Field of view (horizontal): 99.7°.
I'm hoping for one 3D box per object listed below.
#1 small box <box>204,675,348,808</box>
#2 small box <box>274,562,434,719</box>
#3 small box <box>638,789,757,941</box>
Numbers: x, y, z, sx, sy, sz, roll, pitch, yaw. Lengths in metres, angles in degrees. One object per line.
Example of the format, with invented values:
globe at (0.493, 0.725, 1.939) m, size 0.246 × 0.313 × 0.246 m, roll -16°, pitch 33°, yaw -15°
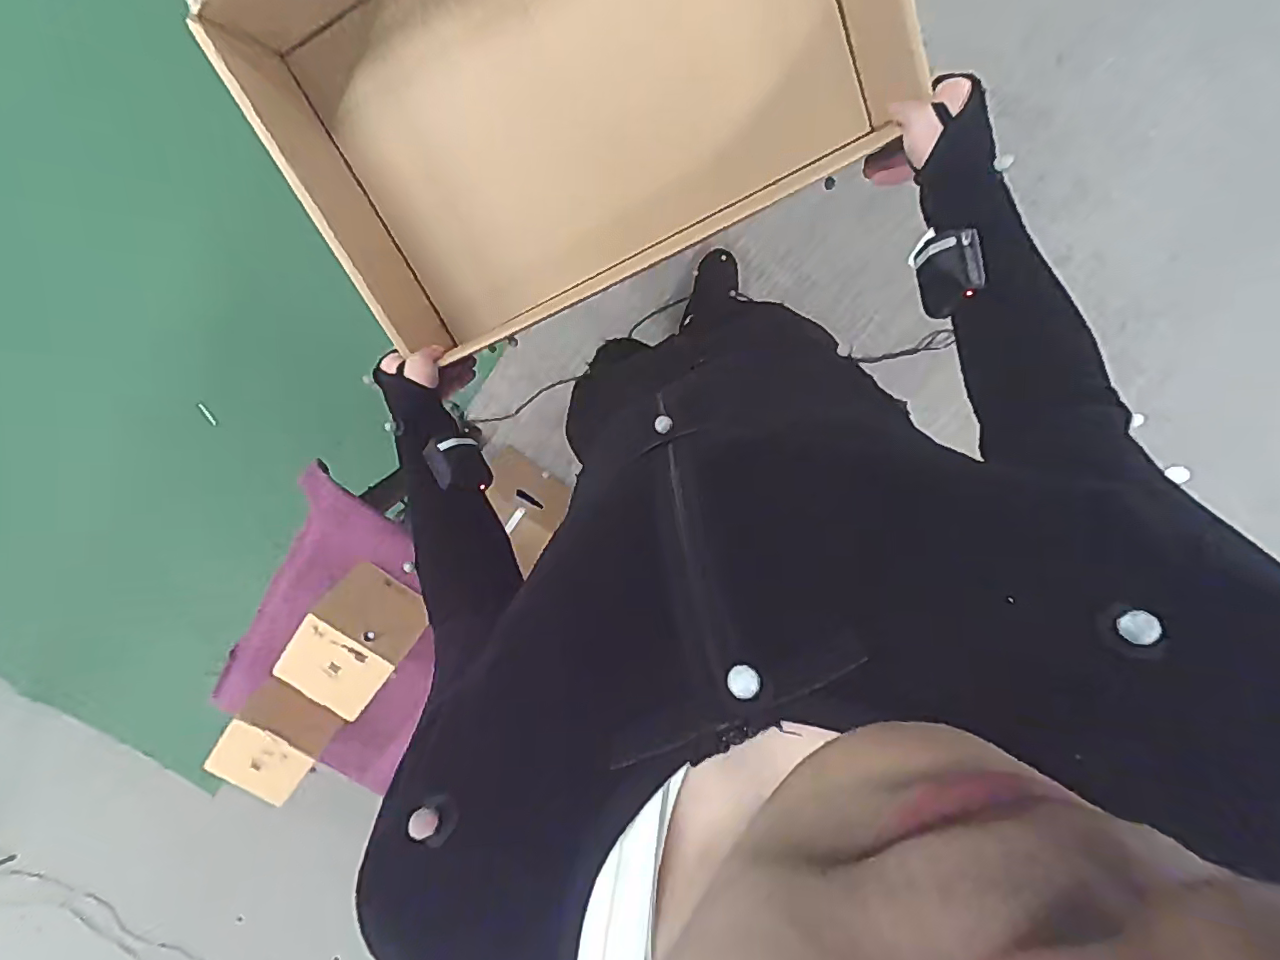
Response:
small box at (-0.711, 0.505, 1.090) m, size 0.168 × 0.176 × 0.179 m, roll 37°, pitch 109°, yaw -11°
small box at (-0.509, 0.287, 0.986) m, size 0.168 × 0.176 × 0.179 m, roll 37°, pitch 113°, yaw -10°
small box at (0.116, 0.783, 1.113) m, size 0.168 × 0.176 × 0.179 m, roll 34°, pitch 112°, yaw -7°
